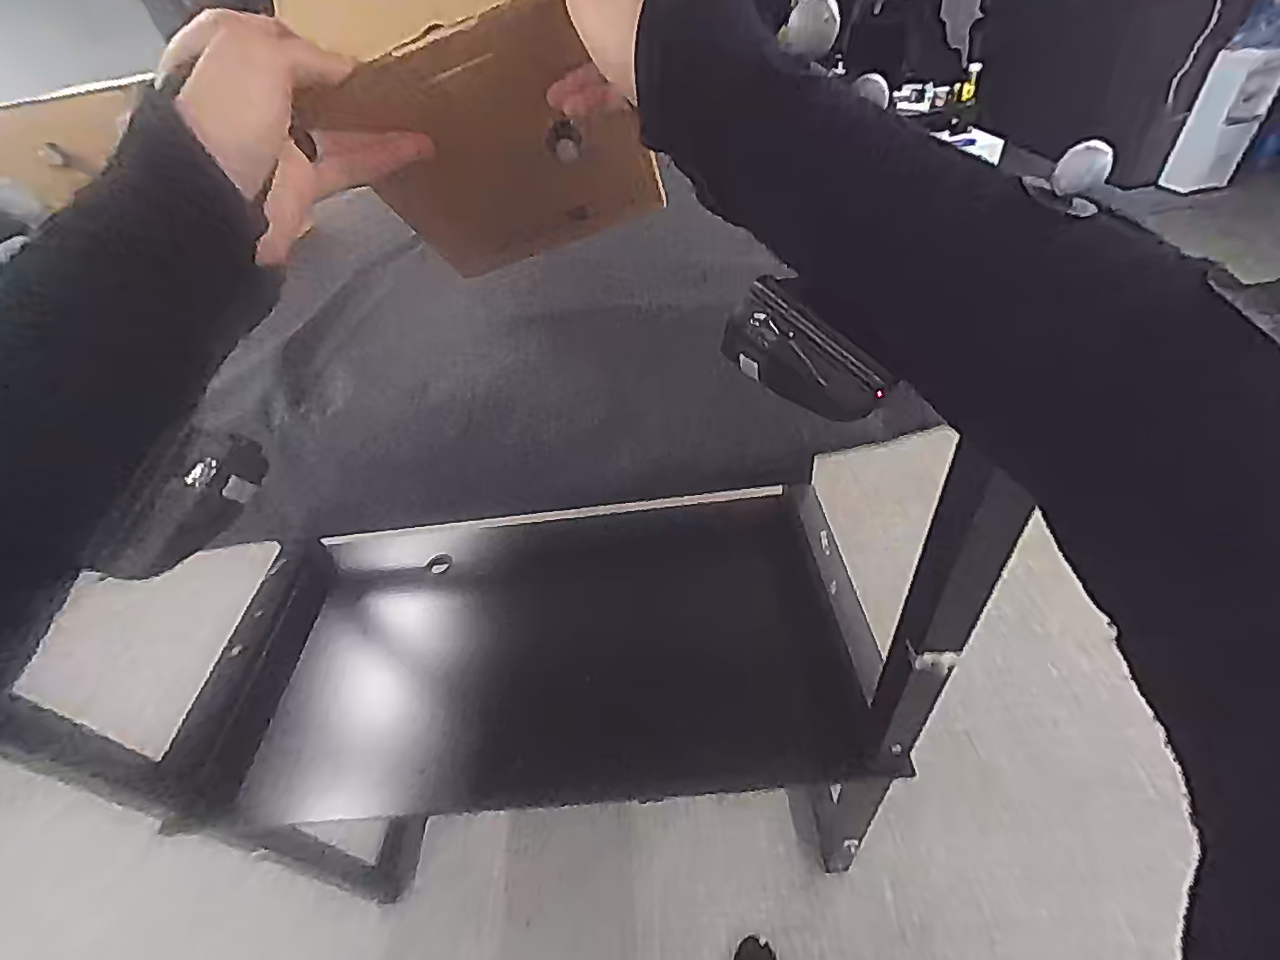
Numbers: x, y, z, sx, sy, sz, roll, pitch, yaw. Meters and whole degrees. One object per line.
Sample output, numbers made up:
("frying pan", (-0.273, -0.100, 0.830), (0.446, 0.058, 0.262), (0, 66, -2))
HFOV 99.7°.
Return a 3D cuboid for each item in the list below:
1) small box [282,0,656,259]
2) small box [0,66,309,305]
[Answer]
("small box", (-0.095, -0.272, 0.351), (0.168, 0.176, 0.179), (-14, 77, 9))
("small box", (-0.494, -0.303, 0.563), (0.179, 0.176, 0.168), (-7, 43, 5))
